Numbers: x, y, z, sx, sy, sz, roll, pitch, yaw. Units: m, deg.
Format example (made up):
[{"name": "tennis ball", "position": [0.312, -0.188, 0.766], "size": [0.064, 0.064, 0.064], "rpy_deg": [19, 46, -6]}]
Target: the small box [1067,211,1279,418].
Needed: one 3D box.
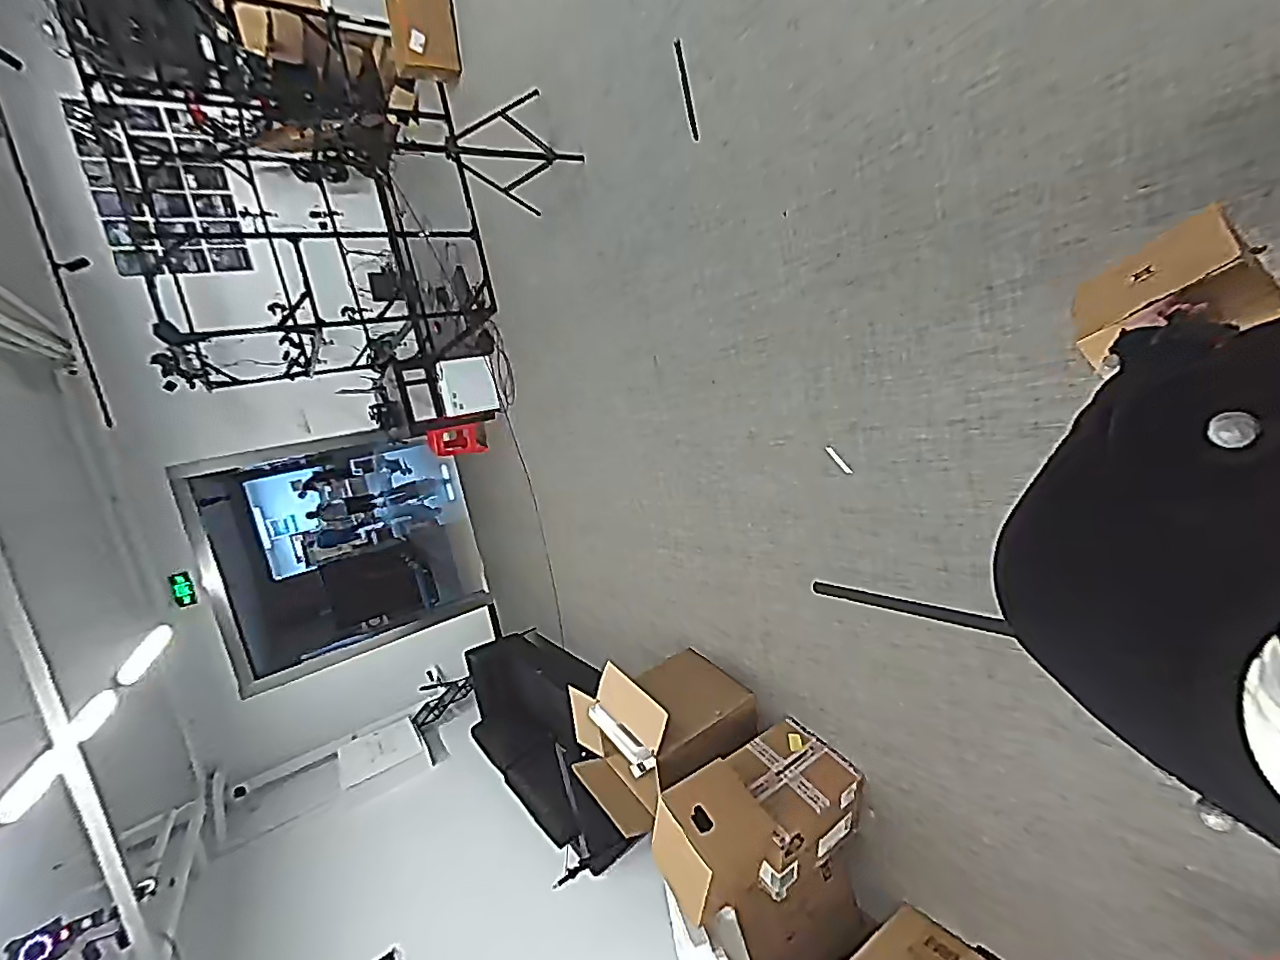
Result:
[{"name": "small box", "position": [0.704, -0.204, 0.710], "size": [0.176, 0.179, 0.168], "rpy_deg": [43, 141, -9]}]
